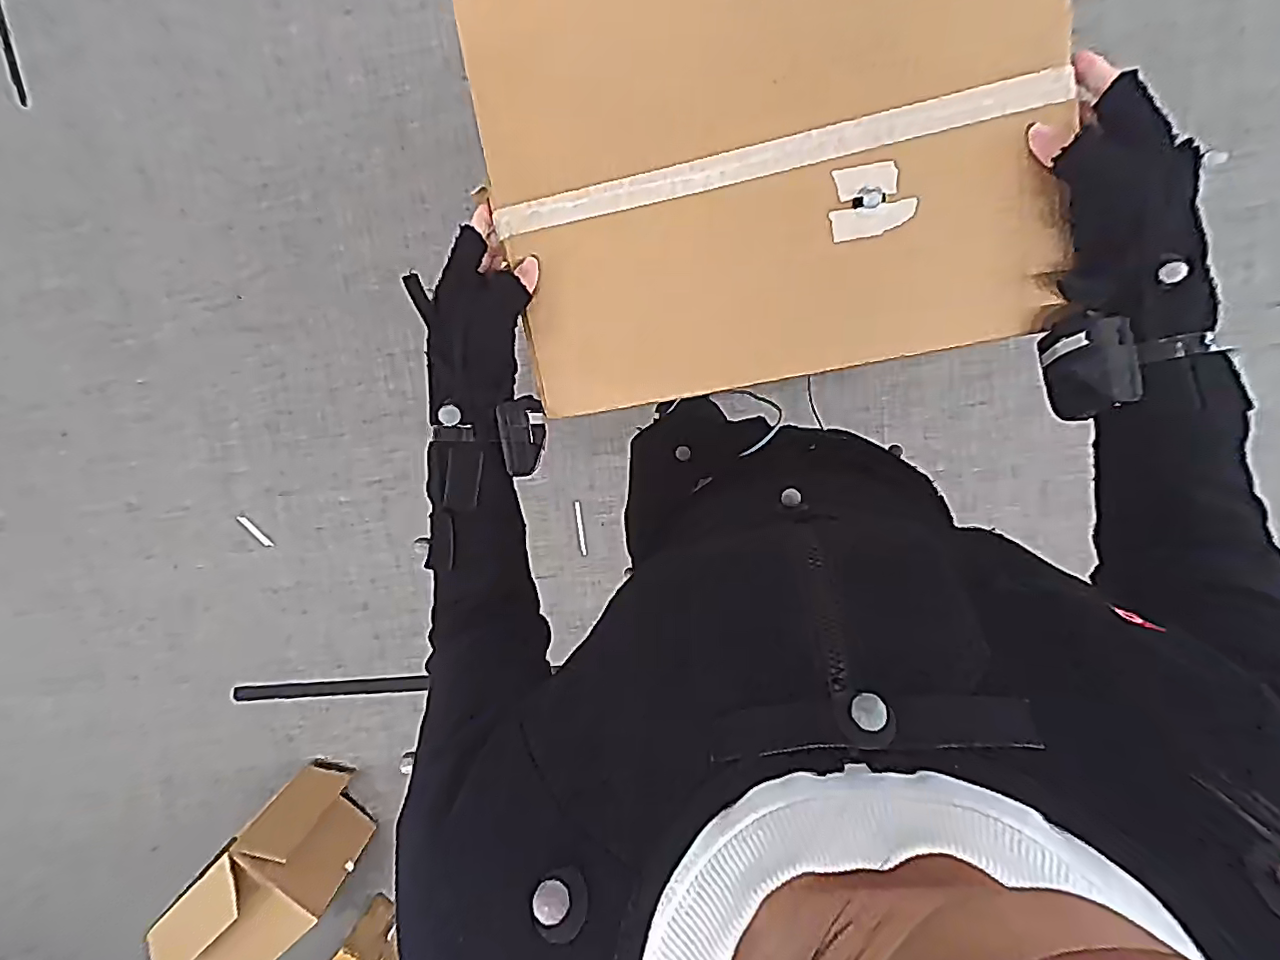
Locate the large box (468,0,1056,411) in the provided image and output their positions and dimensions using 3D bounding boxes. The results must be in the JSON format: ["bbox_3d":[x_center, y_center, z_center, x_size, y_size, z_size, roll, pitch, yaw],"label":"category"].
[{"bbox_3d":[0.104,-0.267,0.551,0.408,0.320,0.320,-9,101,8],"label":"large box"}]
